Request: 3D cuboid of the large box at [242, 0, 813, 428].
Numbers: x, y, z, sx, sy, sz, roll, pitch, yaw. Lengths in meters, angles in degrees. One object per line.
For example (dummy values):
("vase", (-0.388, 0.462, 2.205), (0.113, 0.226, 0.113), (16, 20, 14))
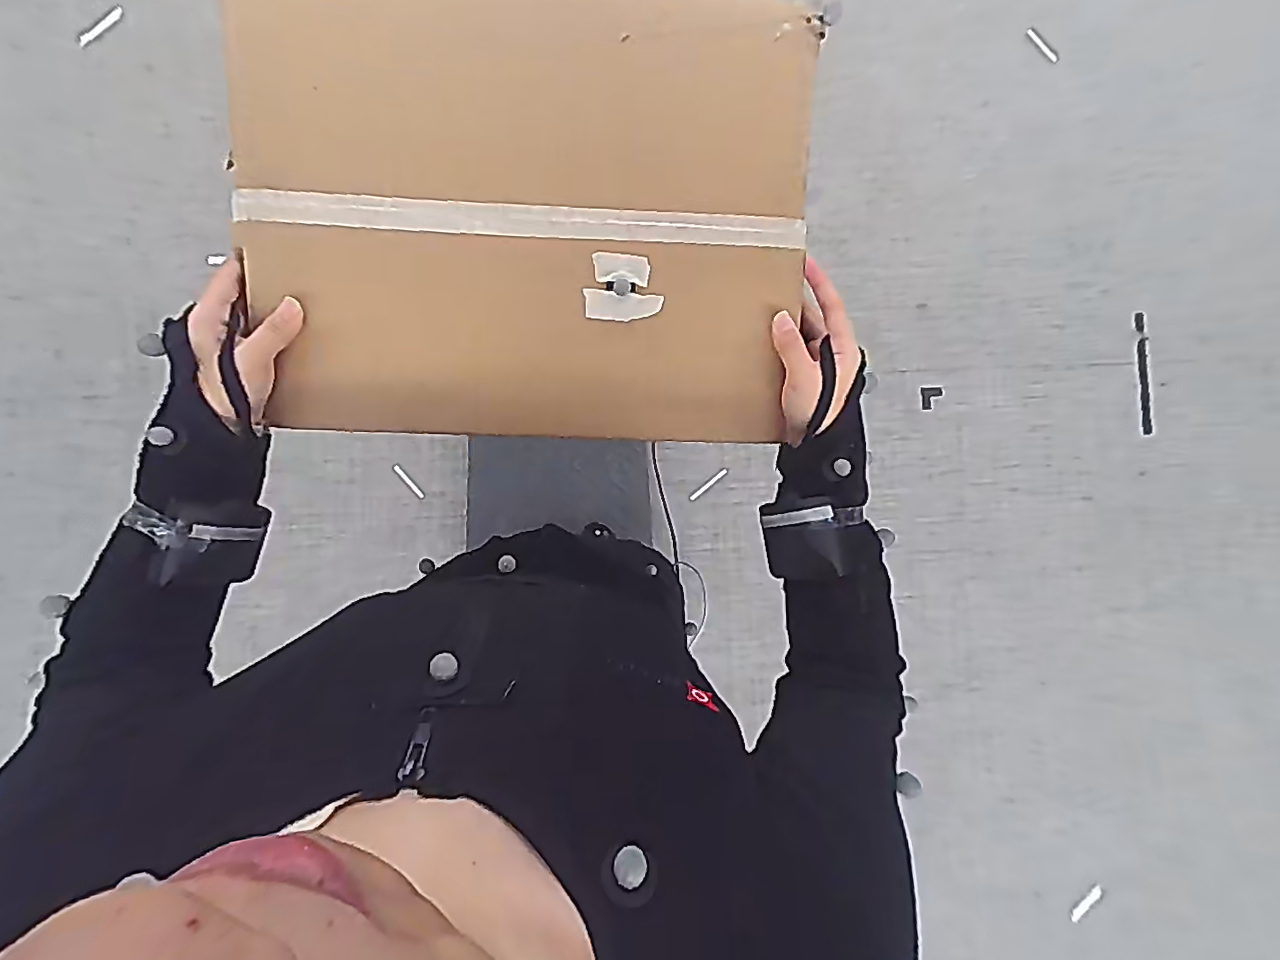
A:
("large box", (-0.088, -0.220, 0.545), (0.408, 0.320, 0.320), (1, 100, -5))
